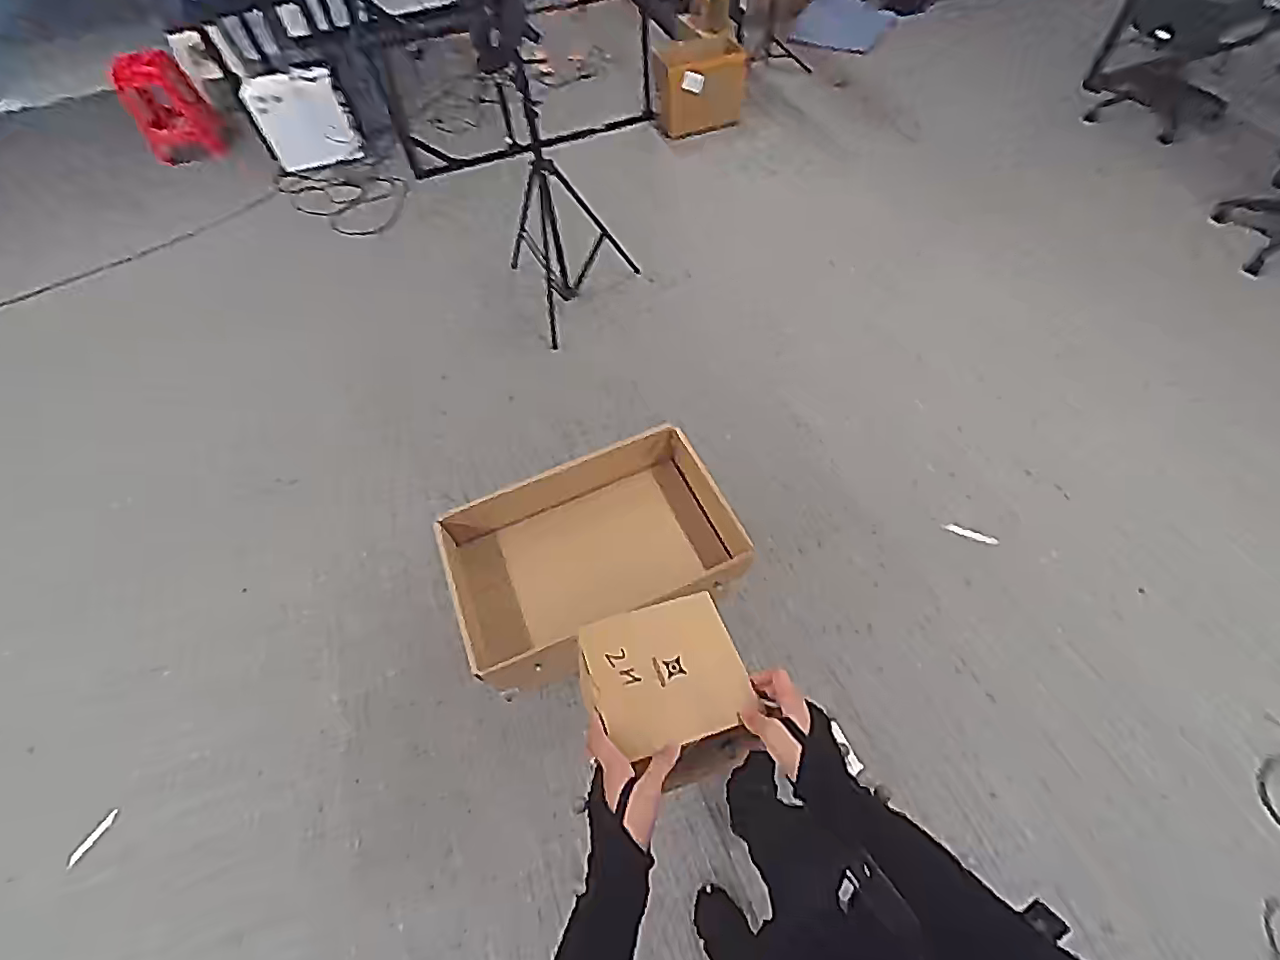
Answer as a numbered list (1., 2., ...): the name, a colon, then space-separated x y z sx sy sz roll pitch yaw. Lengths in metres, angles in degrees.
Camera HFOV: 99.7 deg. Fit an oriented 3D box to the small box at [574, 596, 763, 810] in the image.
1. small box: 0.024 0.275 0.669 0.179 0.176 0.168 -13 47 -14
